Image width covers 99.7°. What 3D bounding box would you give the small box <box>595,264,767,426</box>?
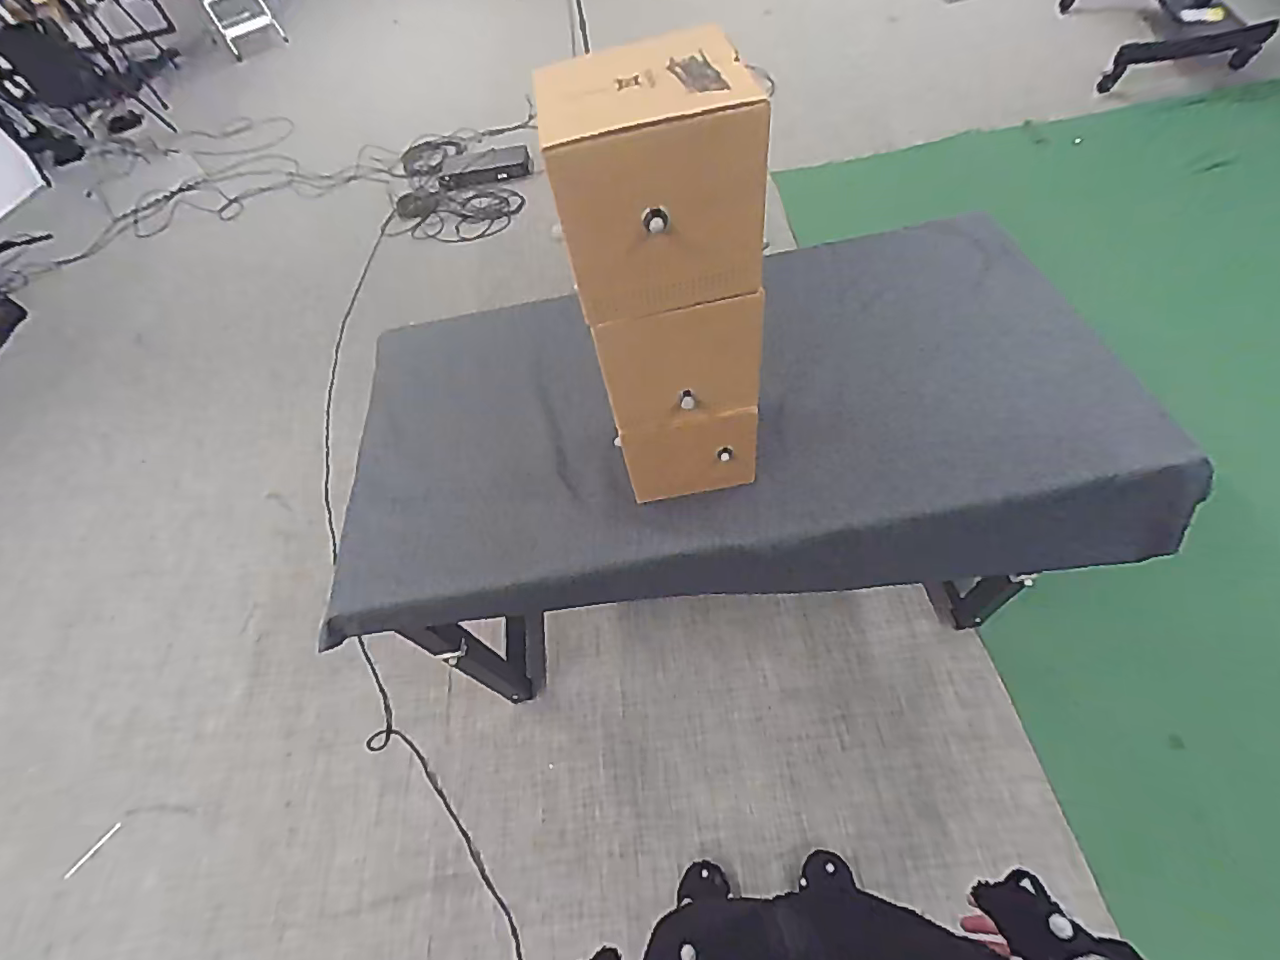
[{"bbox_3d":[0.040,-0.188,0.646,0.179,0.176,0.168,-11,55,1],"label":"small box"}]

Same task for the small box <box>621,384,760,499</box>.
[{"bbox_3d":[0.064,-0.093,0.778,0.179,0.176,0.168,-12,54,3],"label":"small box"}]

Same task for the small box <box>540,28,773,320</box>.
[{"bbox_3d":[0.014,-0.280,0.512,0.179,0.176,0.168,-11,55,3],"label":"small box"}]
